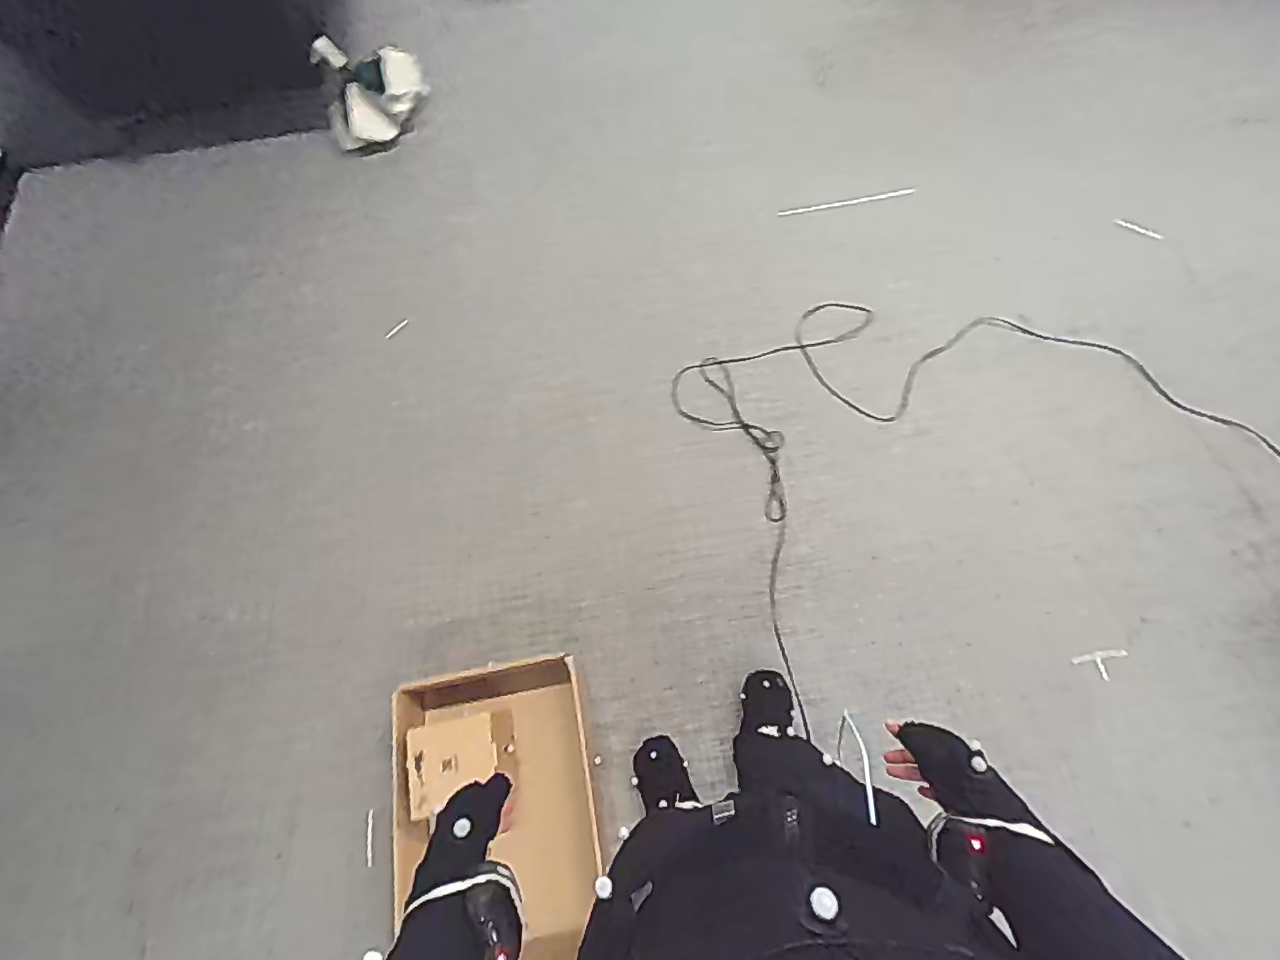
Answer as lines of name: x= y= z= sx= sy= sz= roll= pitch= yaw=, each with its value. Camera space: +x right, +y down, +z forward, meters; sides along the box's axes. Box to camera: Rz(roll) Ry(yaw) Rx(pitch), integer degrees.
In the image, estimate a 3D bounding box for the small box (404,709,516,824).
small box: x=-0.373 y=0.597 z=1.151 sx=0.179 sy=0.176 sz=0.168 roll=-15 pitch=71 yaw=-3
